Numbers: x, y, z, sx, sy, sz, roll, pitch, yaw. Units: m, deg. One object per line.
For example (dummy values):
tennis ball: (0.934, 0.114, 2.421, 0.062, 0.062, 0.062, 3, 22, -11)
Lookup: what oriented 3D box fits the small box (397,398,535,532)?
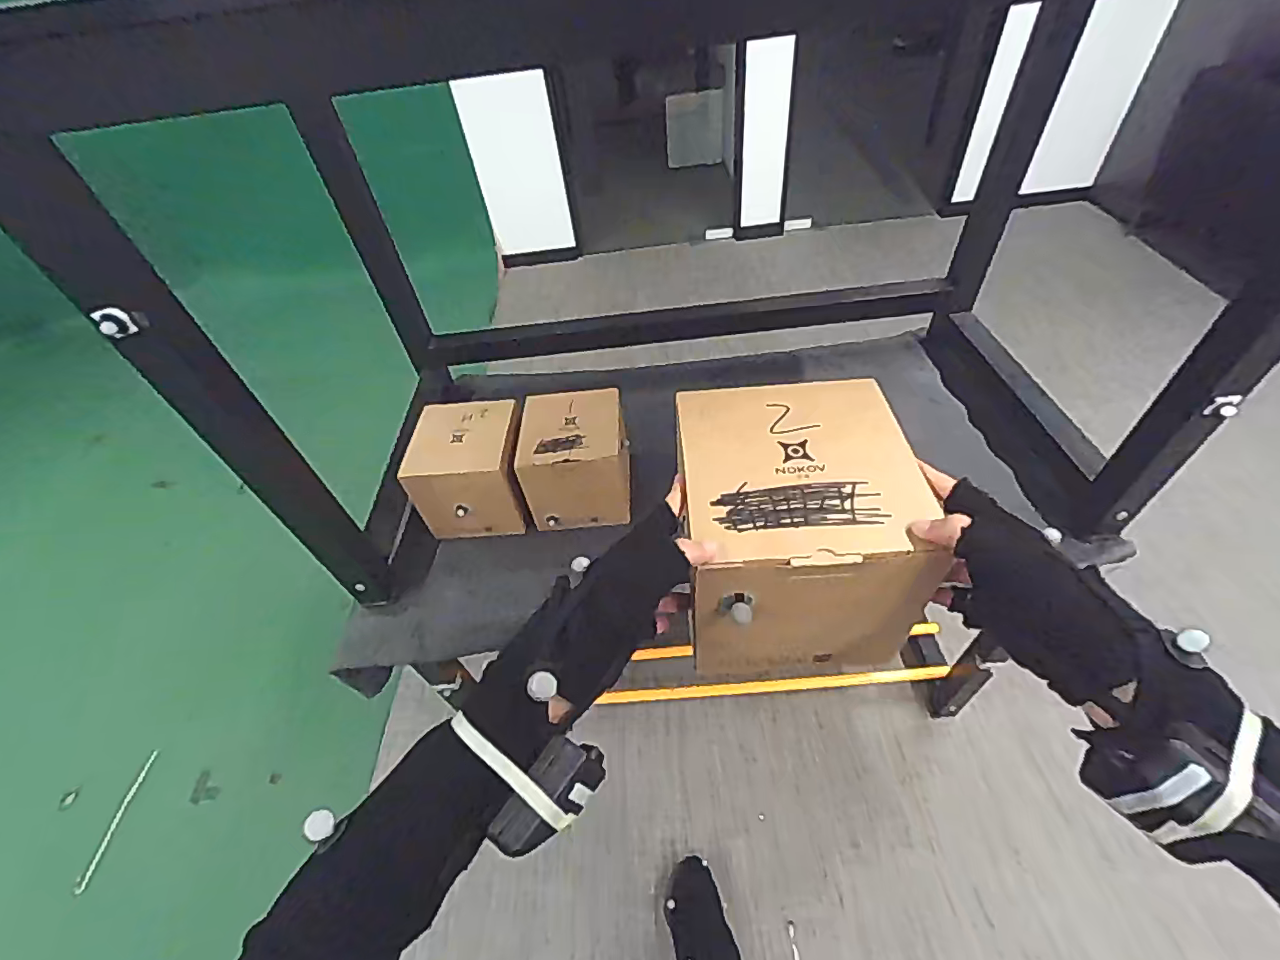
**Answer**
small box: (-0.289, -0.020, 0.946, 0.168, 0.176, 0.179, -3, 47, 4)
